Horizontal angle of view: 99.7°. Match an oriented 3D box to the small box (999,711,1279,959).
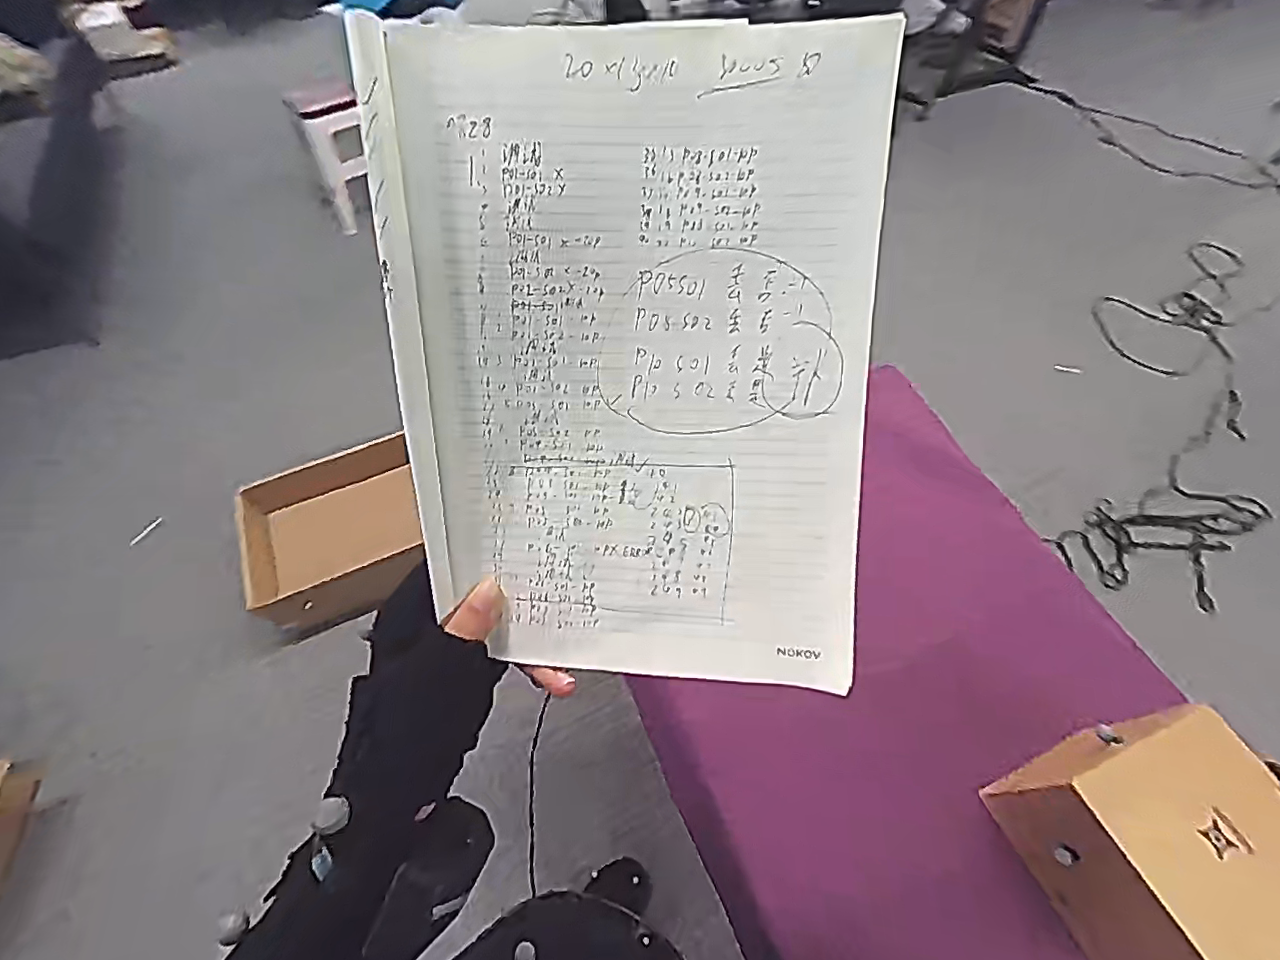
[{"bbox_3d":[0.499,0.358,0.530,0.179,0.176,0.168,-19,57,-14],"label":"small box"}]
